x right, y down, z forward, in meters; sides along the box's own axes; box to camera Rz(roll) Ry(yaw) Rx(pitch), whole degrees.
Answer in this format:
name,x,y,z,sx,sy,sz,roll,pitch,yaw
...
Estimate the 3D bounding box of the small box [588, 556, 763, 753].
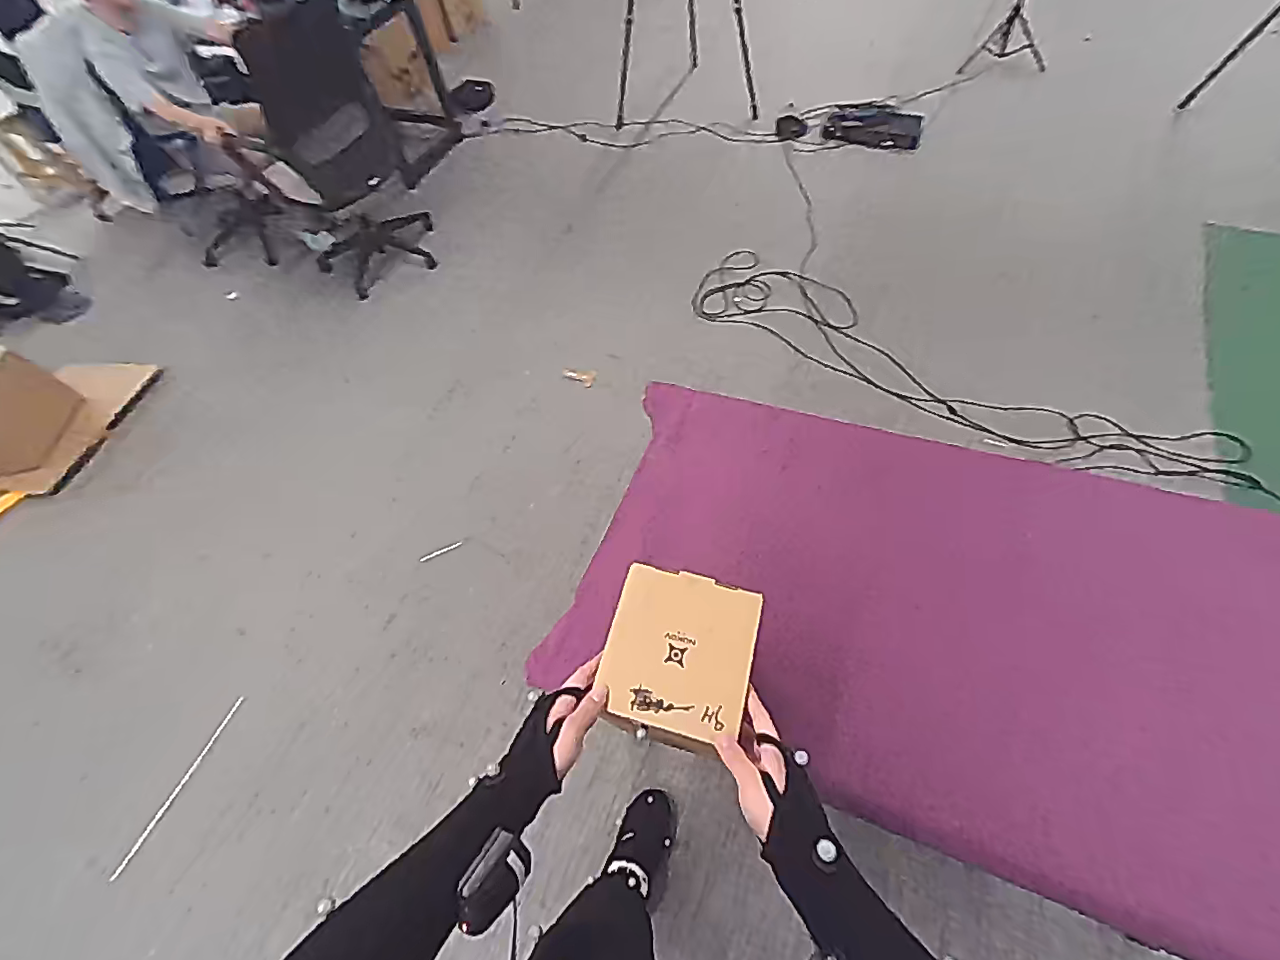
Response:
name,x,y,z,sx,sy,sz,roll,pitch,yaw
small box,0.048,0.224,0.682,0.168,0.176,0.179,13,61,12
